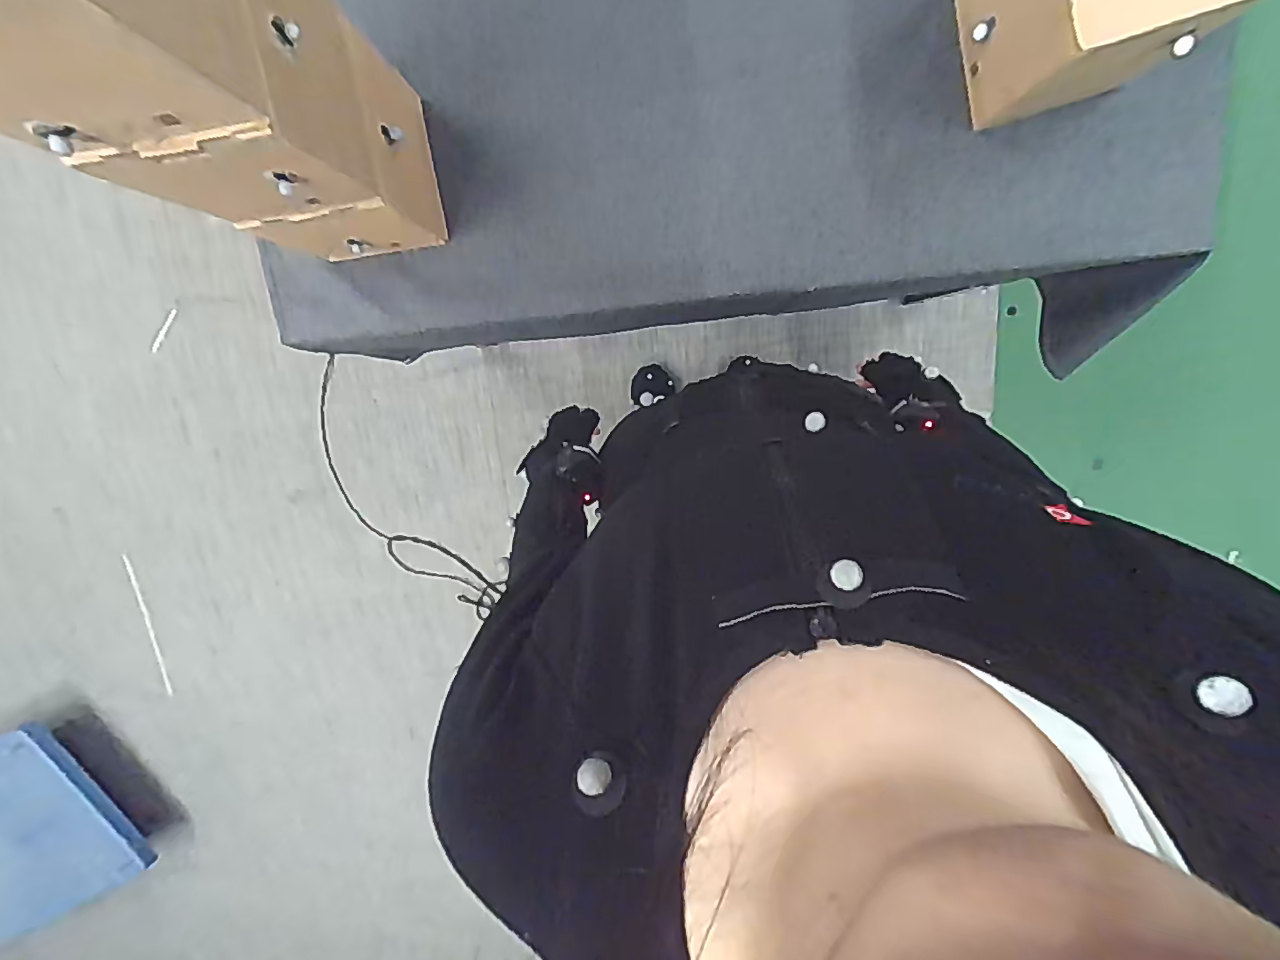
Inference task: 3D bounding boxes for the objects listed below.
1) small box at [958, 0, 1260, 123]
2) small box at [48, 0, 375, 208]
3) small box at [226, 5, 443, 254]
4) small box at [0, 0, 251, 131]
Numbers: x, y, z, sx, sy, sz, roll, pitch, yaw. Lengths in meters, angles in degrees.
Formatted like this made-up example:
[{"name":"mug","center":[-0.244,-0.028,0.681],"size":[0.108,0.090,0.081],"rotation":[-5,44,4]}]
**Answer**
[{"name":"small box","center":[0.458,-0.501,0.542],"size":[0.179,0.176,0.168],"rotation":[-15,101,6]},{"name":"small box","center":[-0.349,-0.342,0.449],"size":[0.168,0.176,0.179],"rotation":[-7,102,3]},{"name":"small box","center":[-0.345,-0.372,0.609],"size":[0.168,0.176,0.179],"rotation":[-7,102,4]},{"name":"small box","center":[-0.356,-0.315,0.287],"size":[0.168,0.176,0.179],"rotation":[-8,101,2]}]
